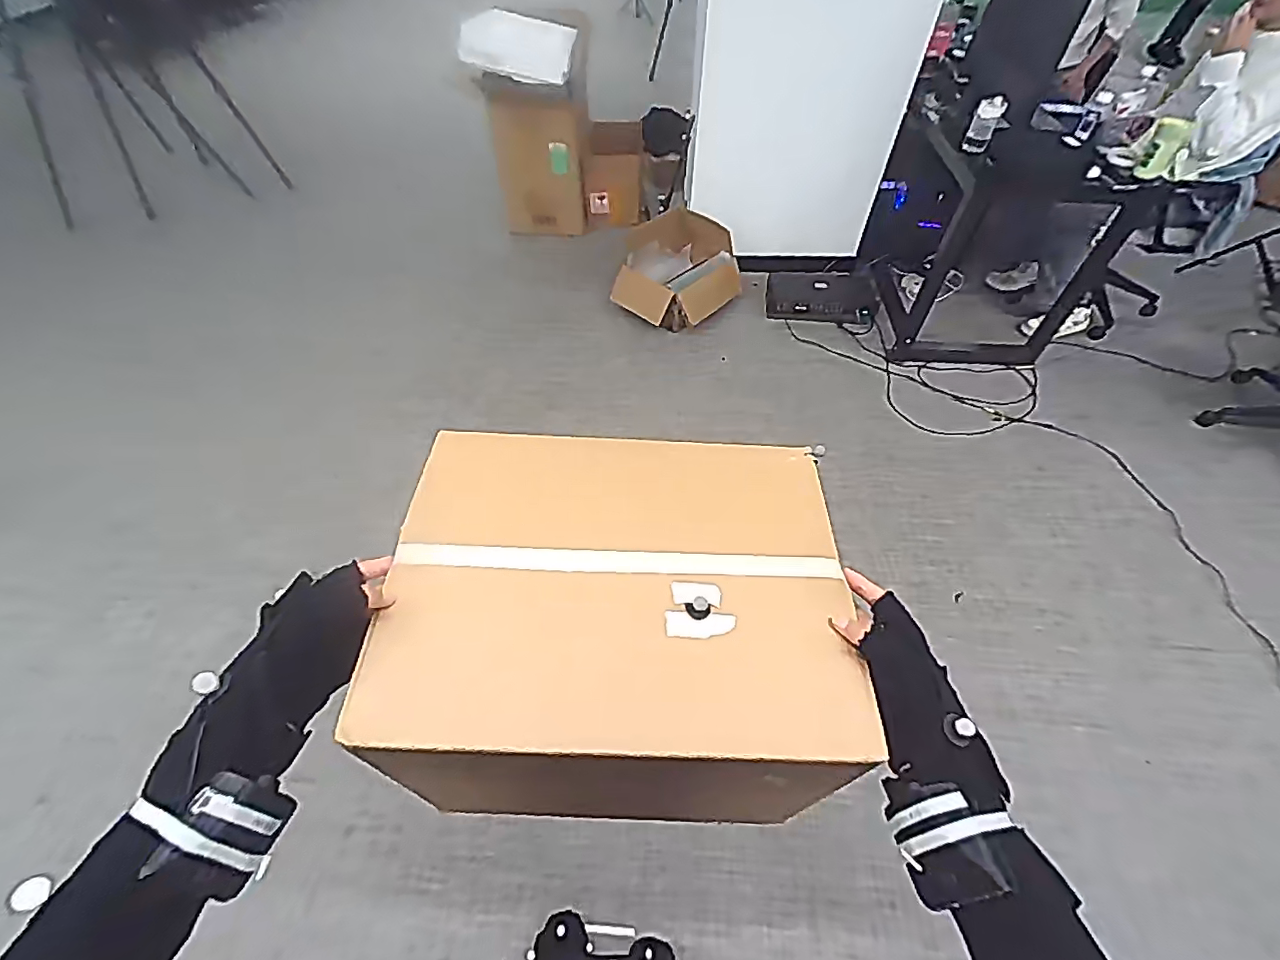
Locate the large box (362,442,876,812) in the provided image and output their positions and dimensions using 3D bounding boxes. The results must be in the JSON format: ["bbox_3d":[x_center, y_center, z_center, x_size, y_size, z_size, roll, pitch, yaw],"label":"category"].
[{"bbox_3d":[-0.021,0.176,0.618,0.408,0.320,0.320,3,51,-2],"label":"large box"}]
